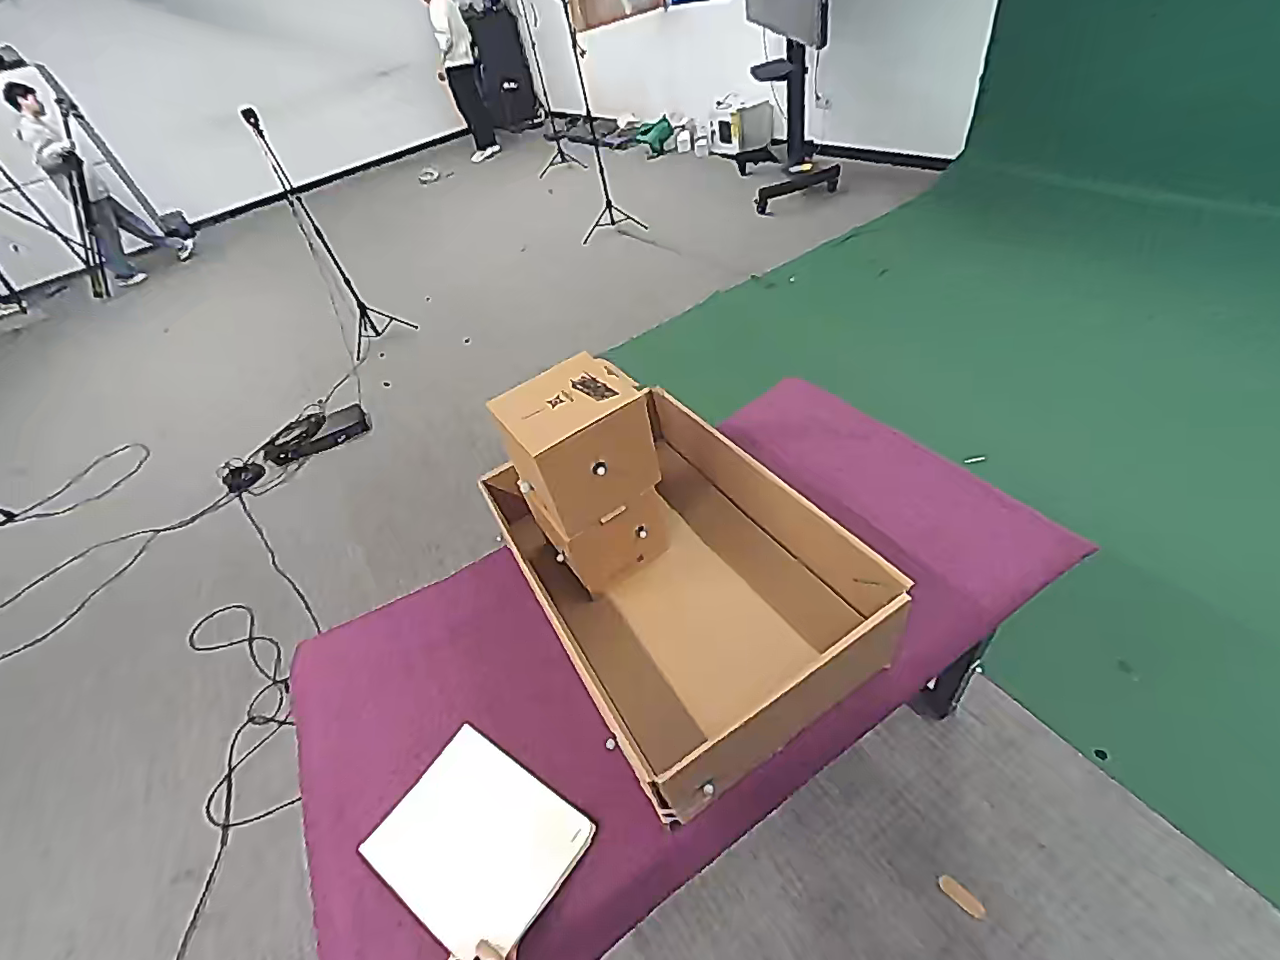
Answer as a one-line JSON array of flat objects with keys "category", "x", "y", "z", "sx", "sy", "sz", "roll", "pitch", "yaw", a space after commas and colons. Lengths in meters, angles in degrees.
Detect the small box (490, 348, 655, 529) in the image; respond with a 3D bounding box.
[{"category": "small box", "x": -0.091, "y": -0.062, "z": 0.809, "sx": 0.179, "sy": 0.176, "sz": 0.168, "roll": -32, "pitch": 47, "yaw": -17}]
